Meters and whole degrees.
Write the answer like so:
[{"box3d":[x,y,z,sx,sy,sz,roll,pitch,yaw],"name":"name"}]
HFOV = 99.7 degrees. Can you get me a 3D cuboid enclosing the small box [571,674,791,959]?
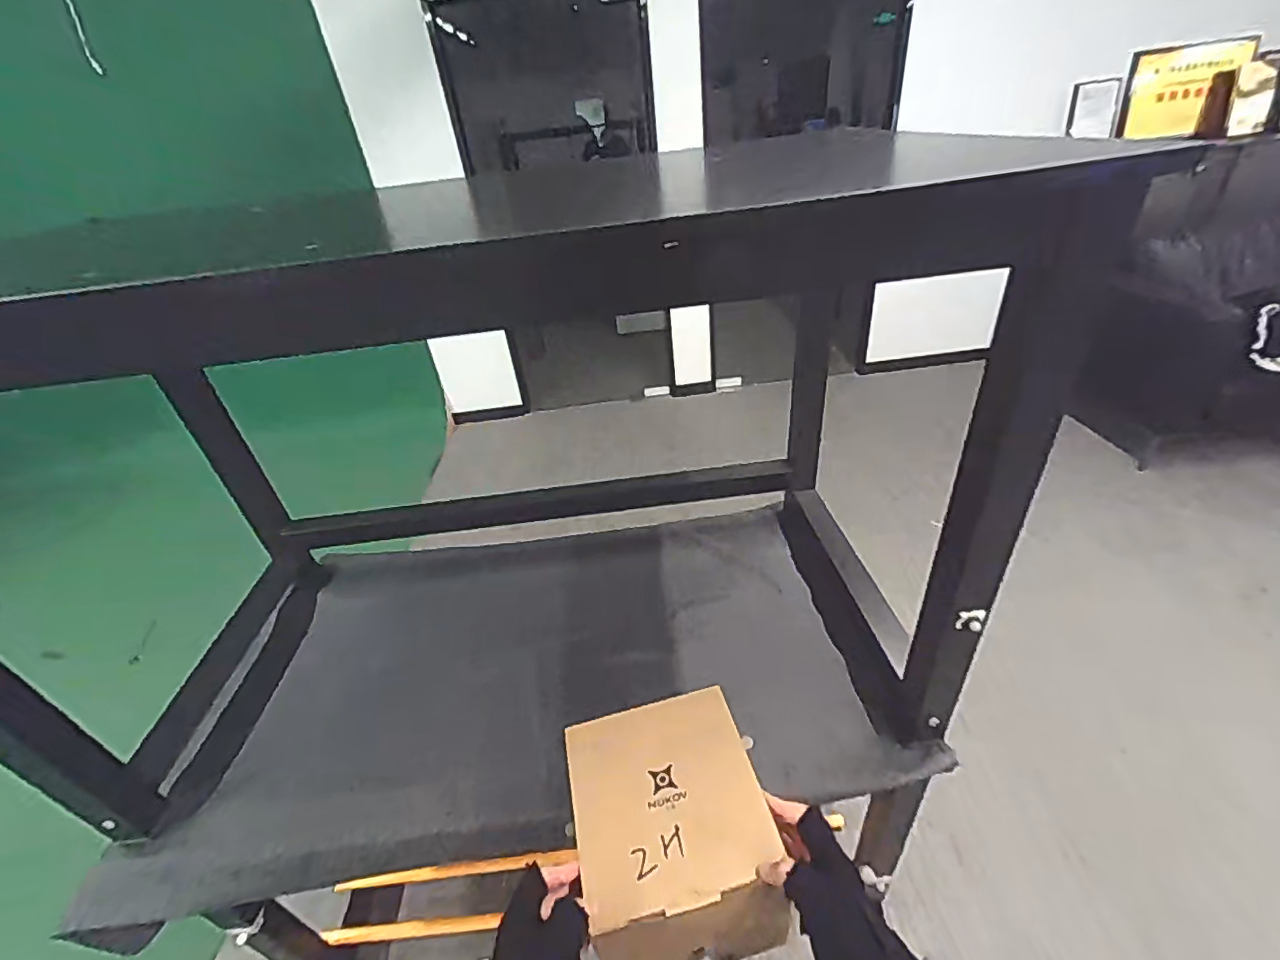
[{"box3d":[0.034,0.330,0.531,0.168,0.176,0.179,-13,34,-6],"name":"small box"}]
